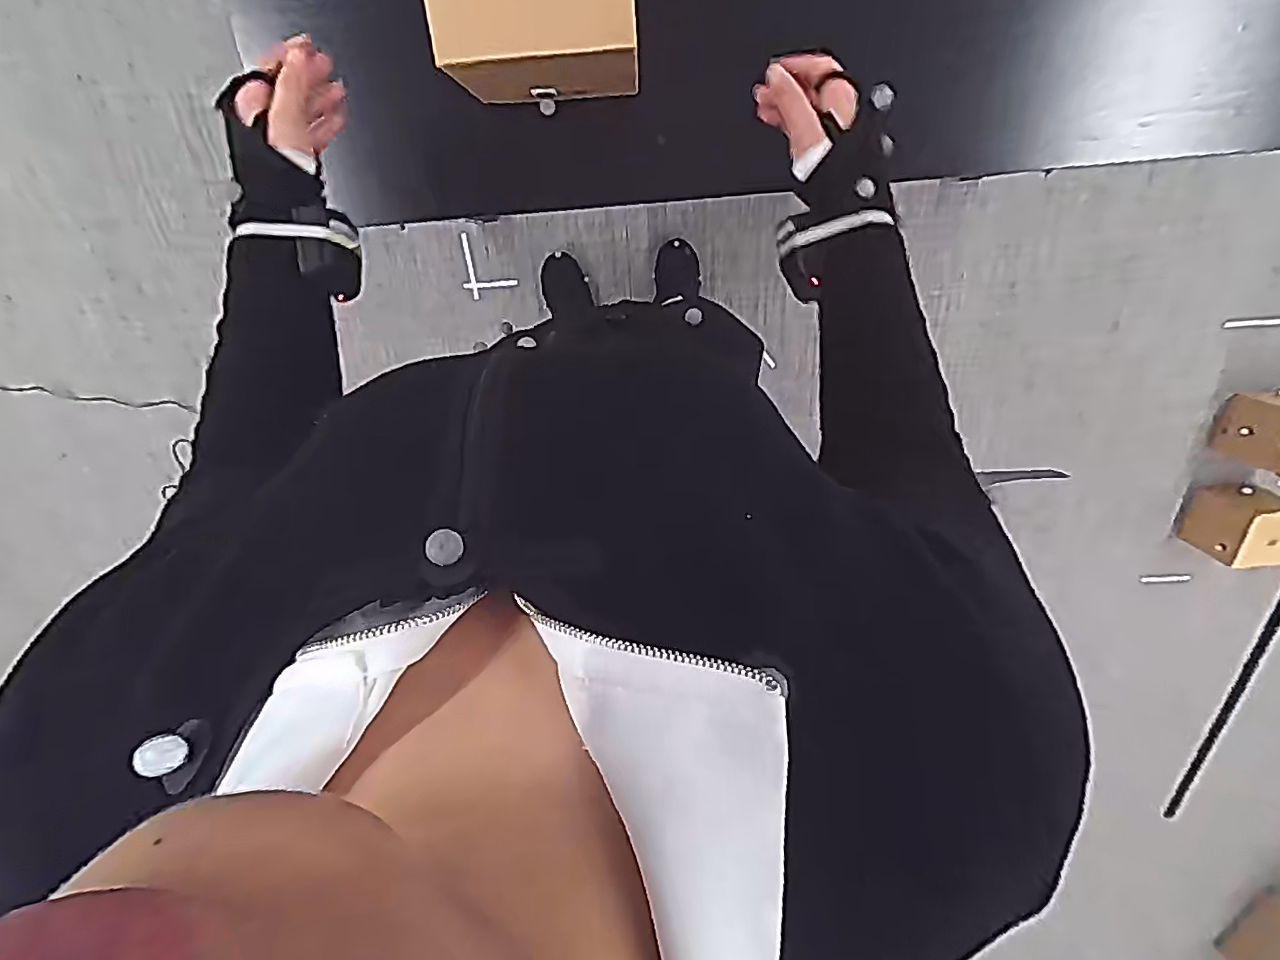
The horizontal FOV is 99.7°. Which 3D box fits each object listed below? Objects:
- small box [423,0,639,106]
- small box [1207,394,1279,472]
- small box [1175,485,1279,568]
[{"bbox_3d":[-0.088,-0.448,0.465,0.168,0.176,0.179,-4,115,2],"label":"small box"},{"bbox_3d":[1.684,-0.127,1.429,0.179,0.176,0.168,-1,115,1],"label":"small box"},{"bbox_3d":[1.709,0.131,1.551,0.168,0.176,0.179,-5,115,2],"label":"small box"}]
